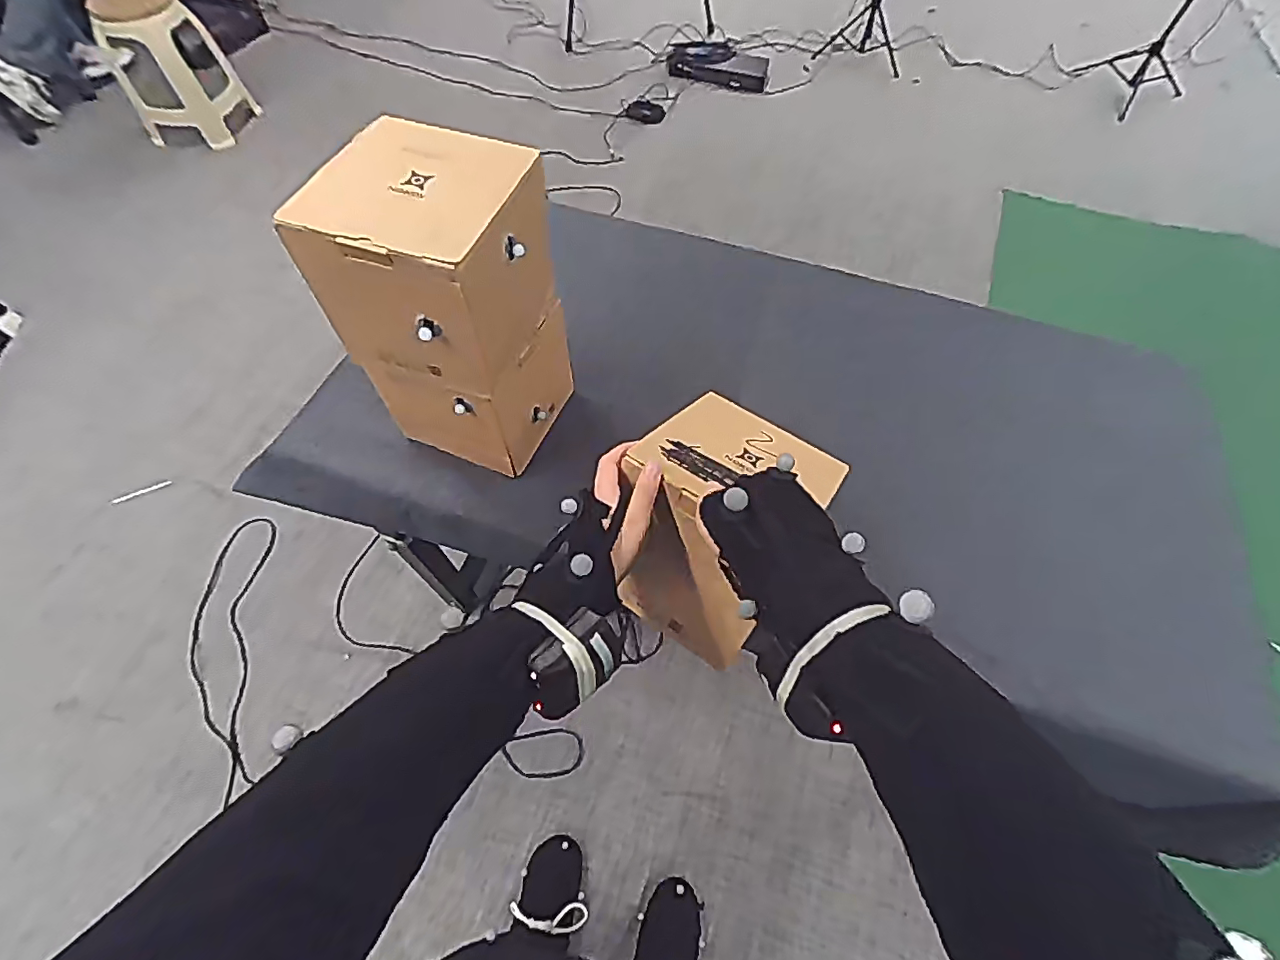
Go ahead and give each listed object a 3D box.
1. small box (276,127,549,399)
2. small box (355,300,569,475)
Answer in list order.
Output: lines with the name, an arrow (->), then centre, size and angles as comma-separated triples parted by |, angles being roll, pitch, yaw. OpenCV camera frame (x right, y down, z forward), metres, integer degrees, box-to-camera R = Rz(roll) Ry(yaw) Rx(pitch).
small box -> -0.198, -0.208, 0.537 | 0.168, 0.176, 0.179 | 16, 59, 6
small box -> -0.205, -0.130, 0.680 | 0.179, 0.176, 0.168 | 20, 60, 10
